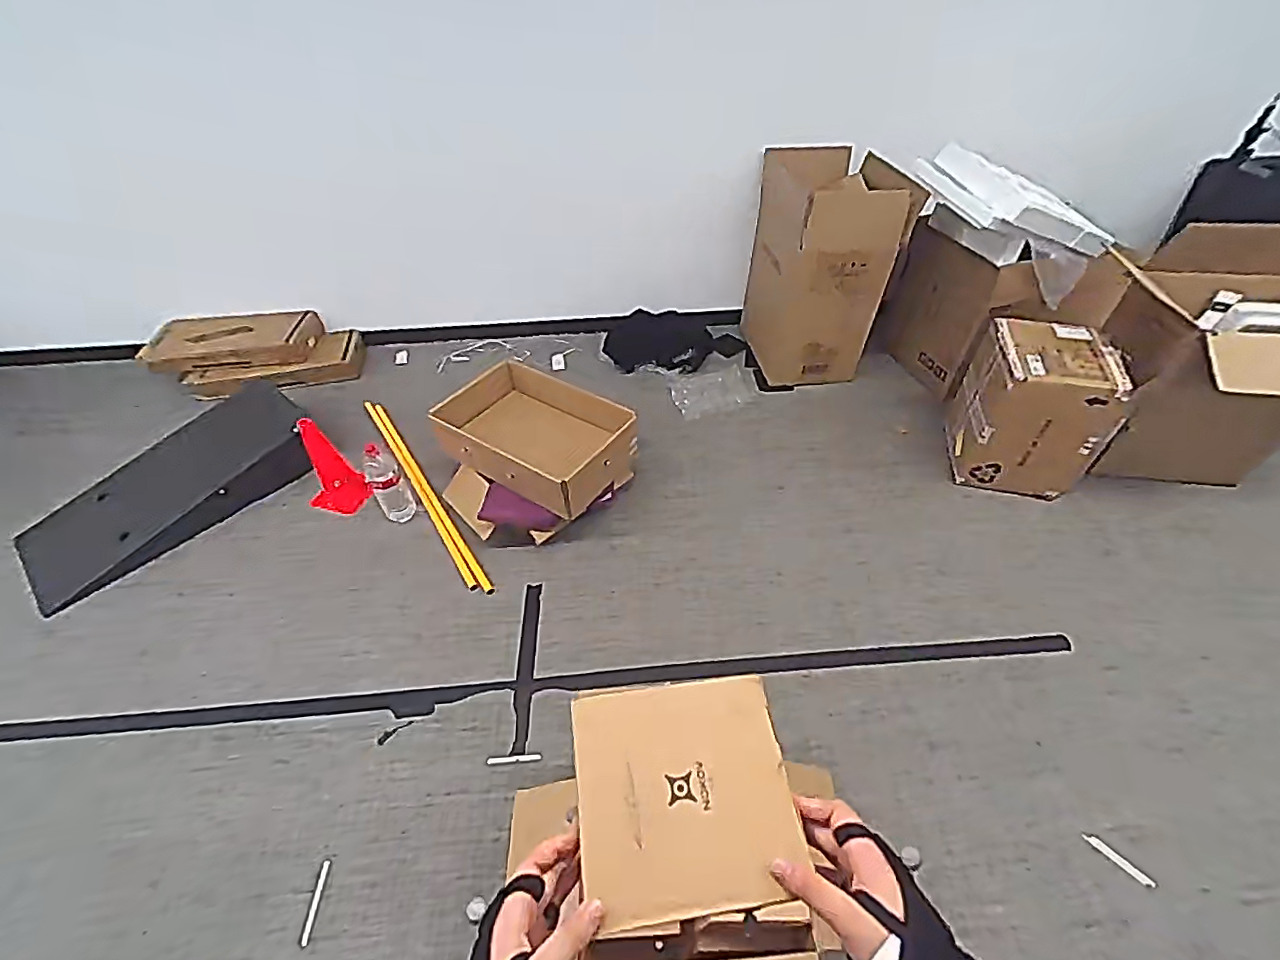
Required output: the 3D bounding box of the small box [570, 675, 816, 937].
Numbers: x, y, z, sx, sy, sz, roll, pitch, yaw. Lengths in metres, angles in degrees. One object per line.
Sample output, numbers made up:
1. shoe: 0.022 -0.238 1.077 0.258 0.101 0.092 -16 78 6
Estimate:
1. small box: 0.032 0.300 0.499 0.179 0.176 0.168 -6 50 -6
